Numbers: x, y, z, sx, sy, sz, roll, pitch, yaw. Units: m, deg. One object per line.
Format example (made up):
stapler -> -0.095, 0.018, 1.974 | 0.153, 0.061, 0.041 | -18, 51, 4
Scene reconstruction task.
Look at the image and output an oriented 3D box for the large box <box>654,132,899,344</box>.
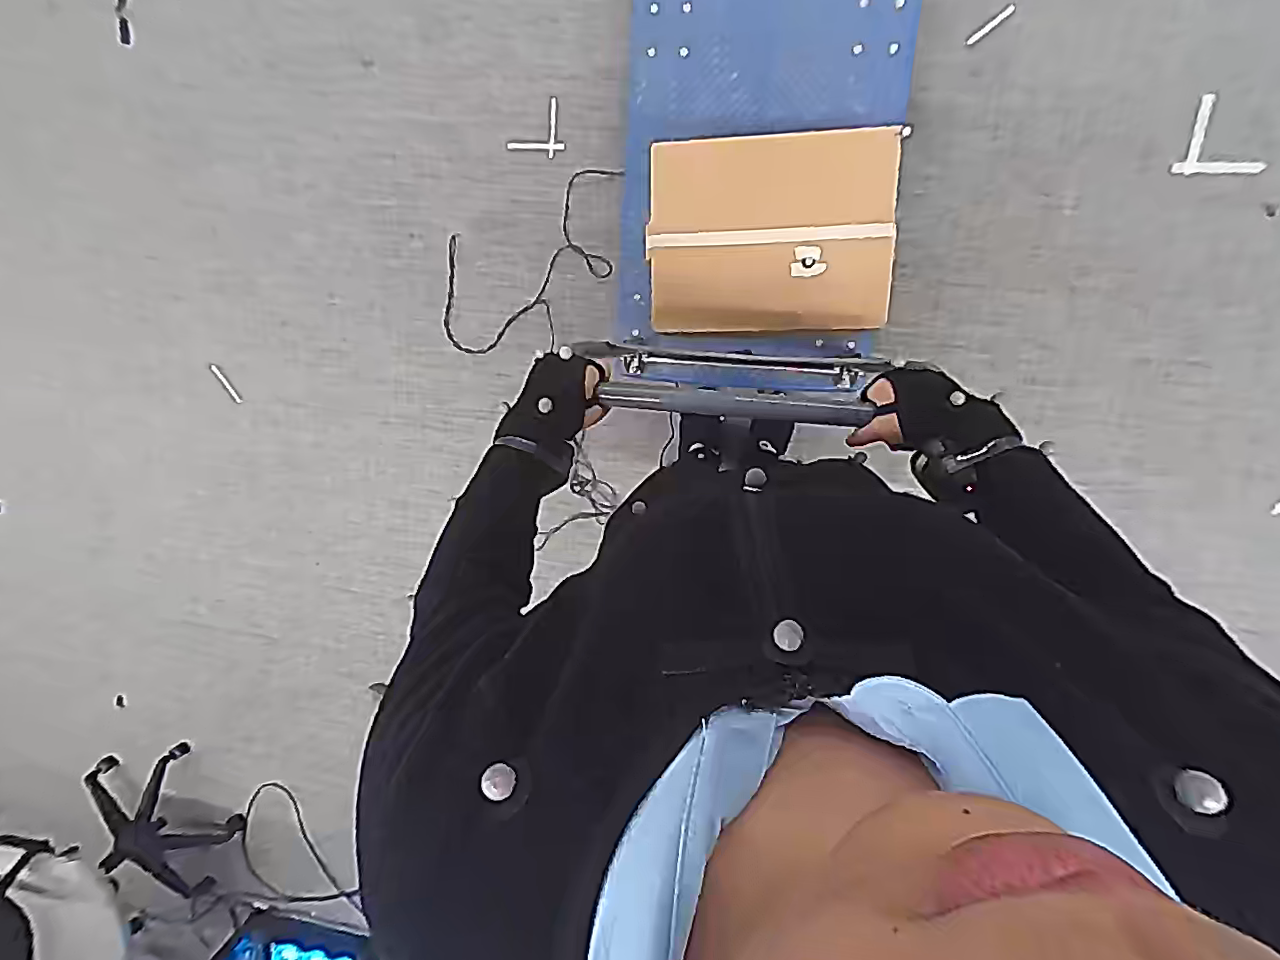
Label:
large box -> 0.243, -0.440, 1.070 | 0.408, 0.320, 0.320 | 1, 102, 8
